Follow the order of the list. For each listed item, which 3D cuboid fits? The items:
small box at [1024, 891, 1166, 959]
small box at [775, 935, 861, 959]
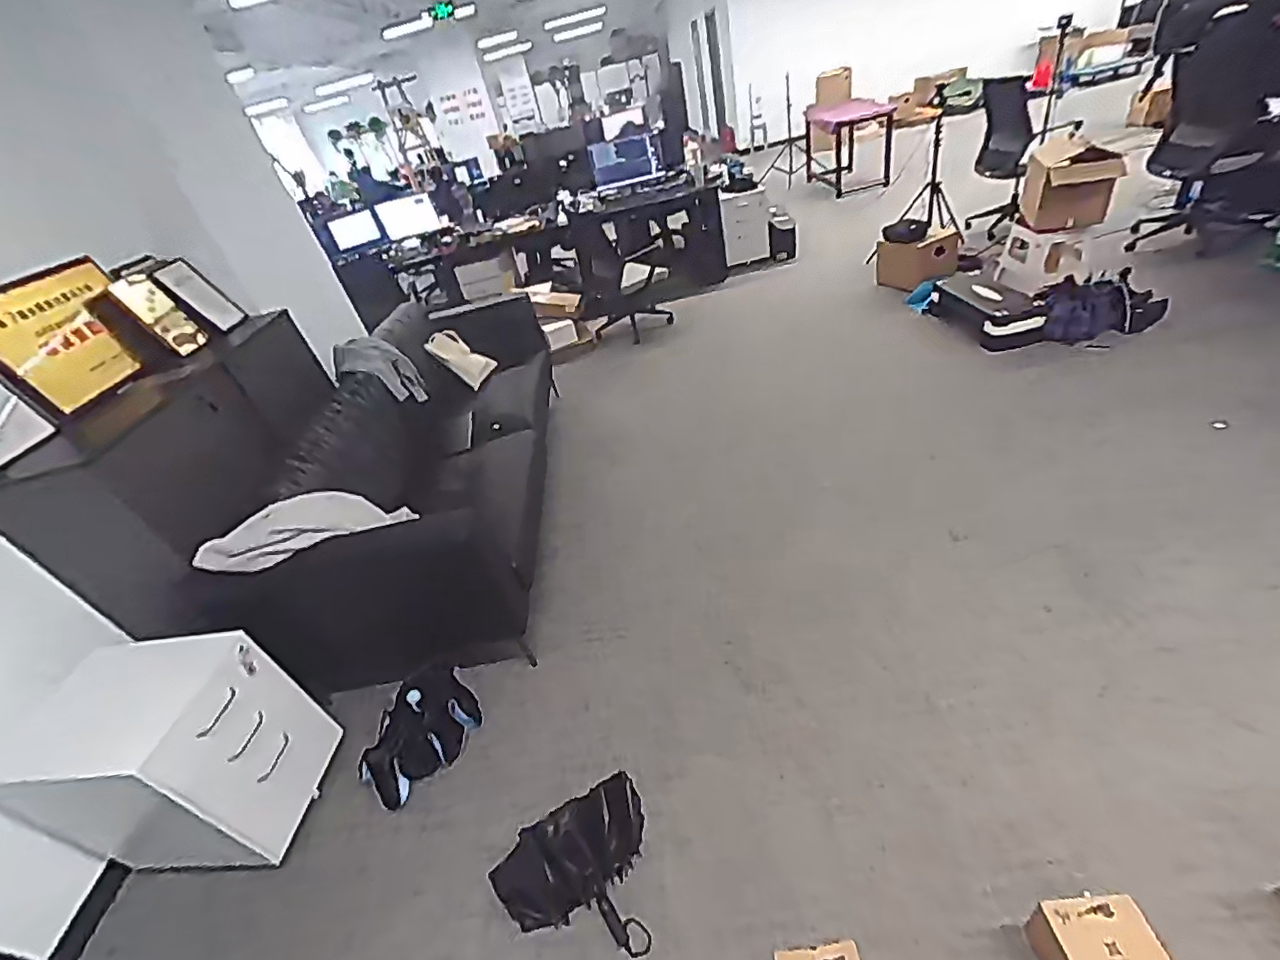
[{"bbox_3d":[0.880,0.924,1.037,0.168,0.176,0.179,-11,37,7],"label":"small box"},{"bbox_3d":[0.372,1.045,1.072,0.168,0.176,0.179,-13,37,5],"label":"small box"}]
